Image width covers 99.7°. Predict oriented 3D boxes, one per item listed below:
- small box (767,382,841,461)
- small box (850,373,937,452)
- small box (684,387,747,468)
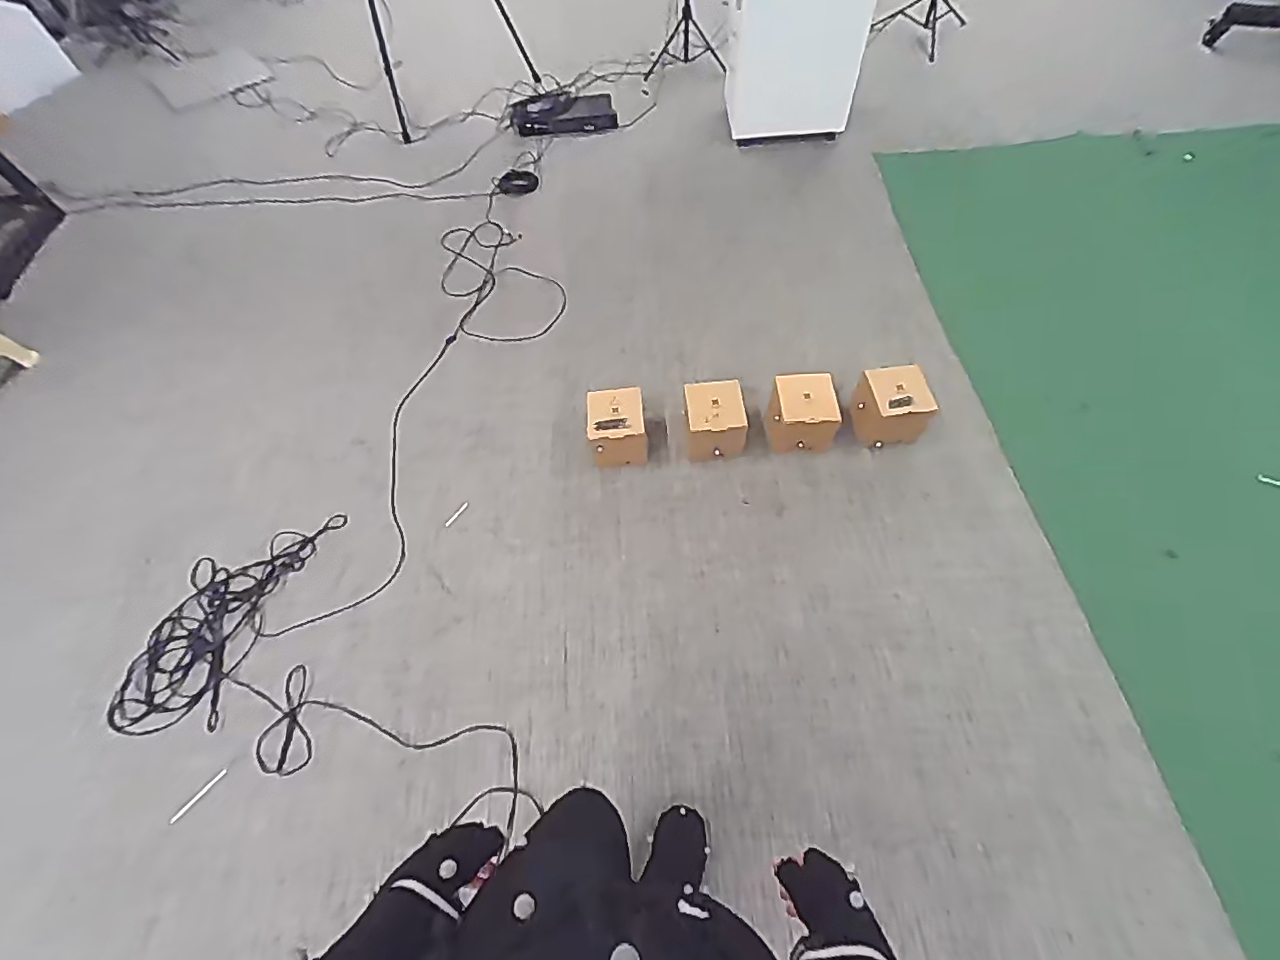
[{"bbox_3d":[0.492,-0.177,1.647,0.168,0.176,0.179,-3,60,1],"label":"small box"},{"bbox_3d":[0.760,-0.197,1.643,0.168,0.176,0.179,-6,59,0],"label":"small box"},{"bbox_3d":[0.224,-0.158,1.648,0.168,0.176,0.179,-5,60,2],"label":"small box"}]
